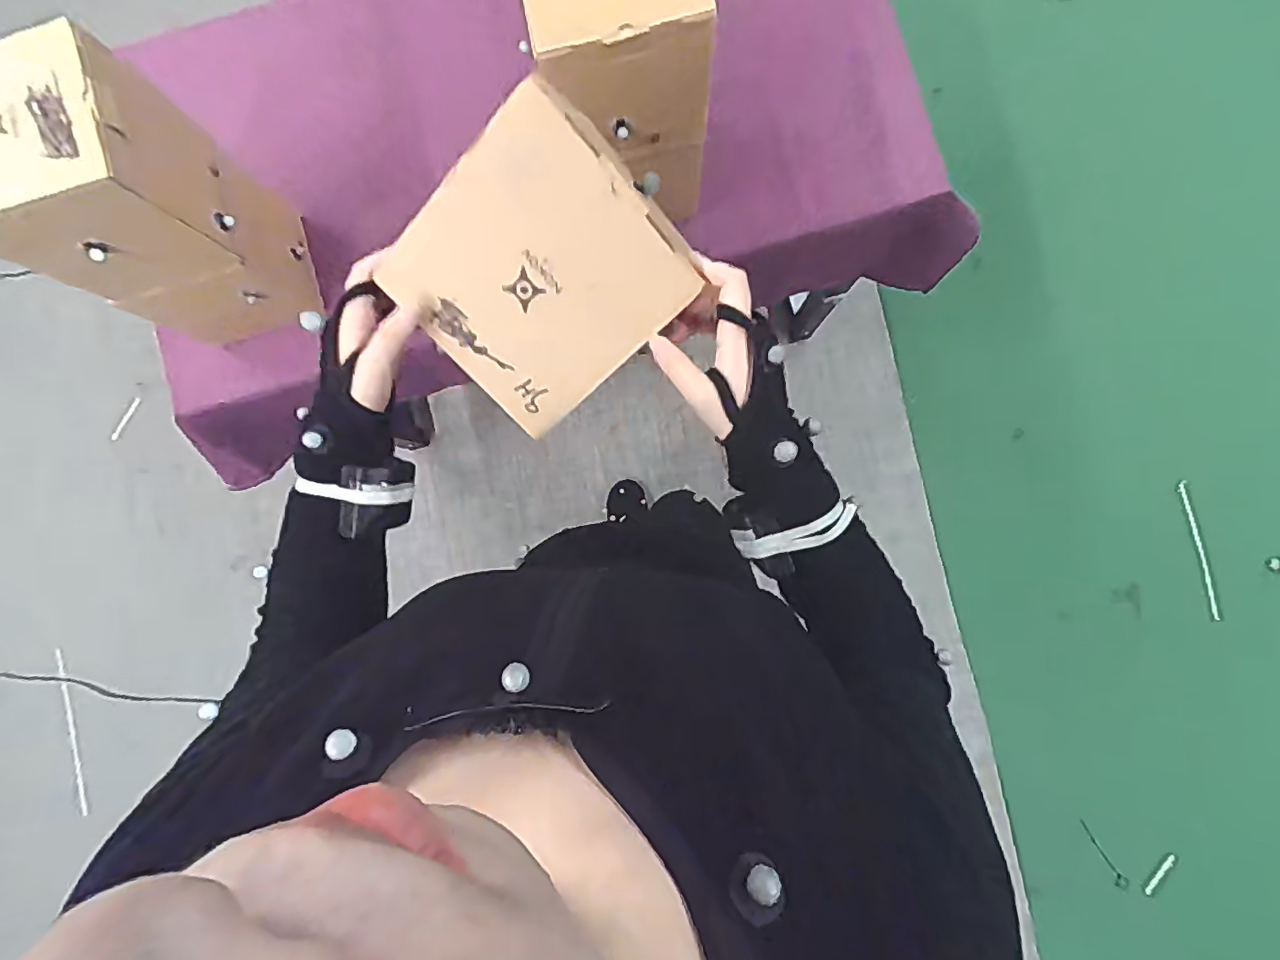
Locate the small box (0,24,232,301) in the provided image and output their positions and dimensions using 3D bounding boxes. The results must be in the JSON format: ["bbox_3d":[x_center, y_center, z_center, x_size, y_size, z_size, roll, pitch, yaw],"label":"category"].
[{"bbox_3d":[-0.583,-0.318,0.579,0.179,0.176,0.168,-17,87,2],"label":"small box"}]

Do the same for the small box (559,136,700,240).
[{"bbox_3d":[-0.021,-0.457,0.723,0.168,0.176,0.179,-12,87,3],"label":"small box"}]

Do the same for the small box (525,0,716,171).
[{"bbox_3d":[-0.026,-0.466,0.561,0.168,0.176,0.179,-12,88,2],"label":"small box"}]
